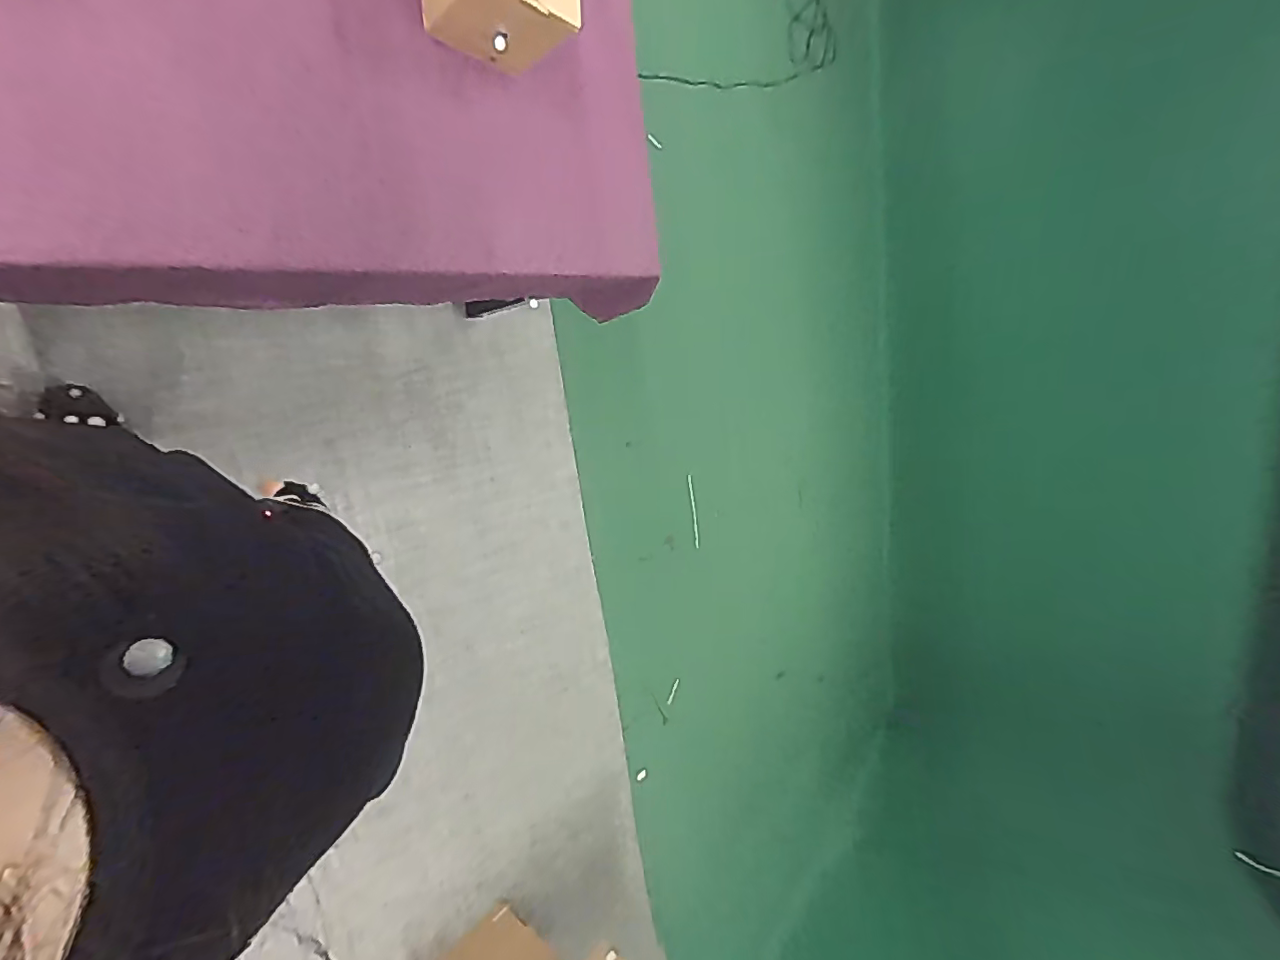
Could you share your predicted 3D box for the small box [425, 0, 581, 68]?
[{"bbox_3d":[-0.204,-0.751,0.786,0.168,0.176,0.179,-11,102,-46],"label":"small box"}]
